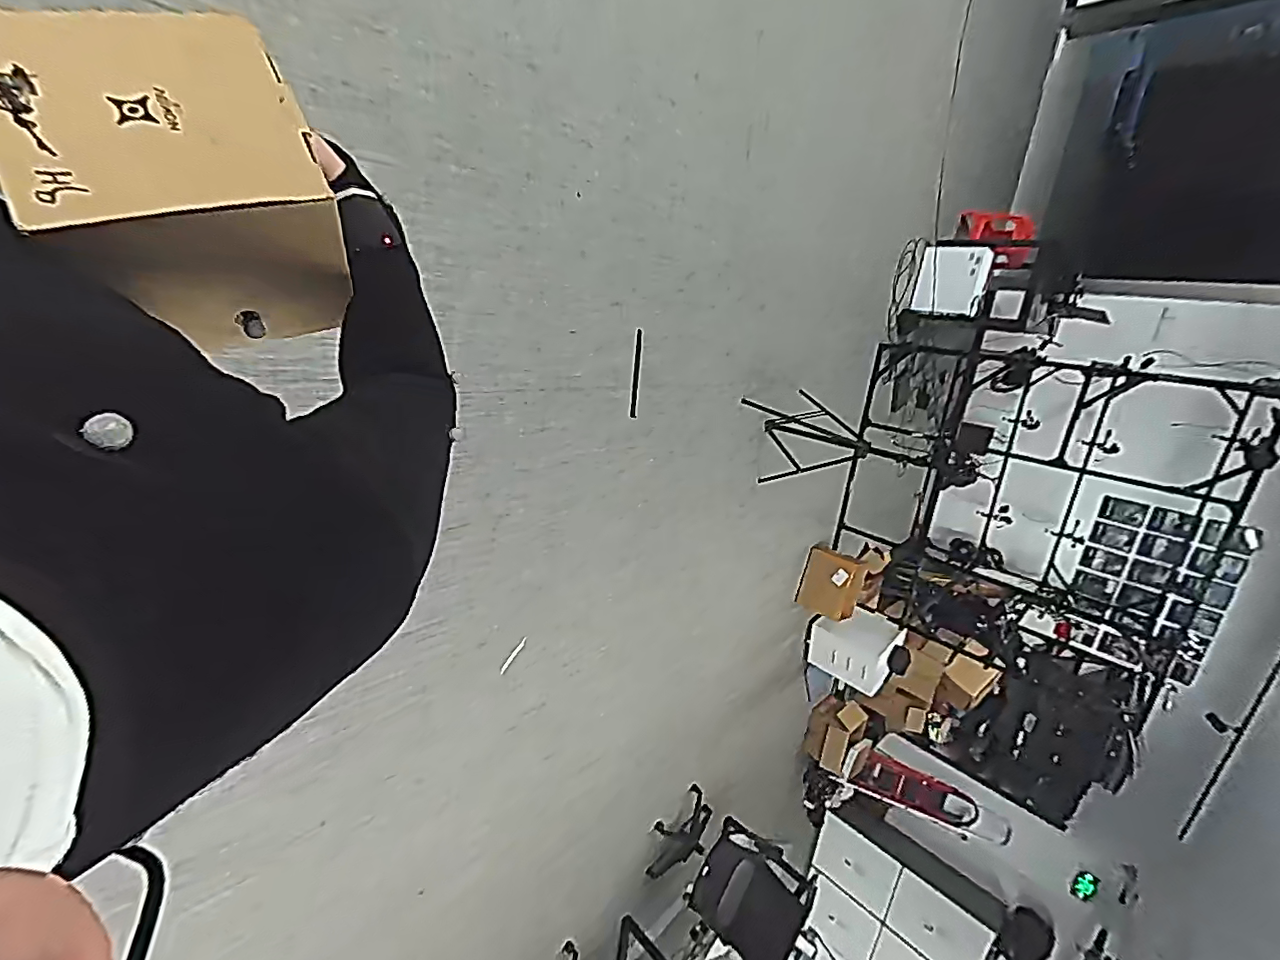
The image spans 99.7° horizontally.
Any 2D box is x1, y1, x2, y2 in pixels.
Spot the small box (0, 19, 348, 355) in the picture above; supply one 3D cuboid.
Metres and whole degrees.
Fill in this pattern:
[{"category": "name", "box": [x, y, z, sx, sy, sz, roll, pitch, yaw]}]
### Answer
[{"category": "small box", "box": [-0.364, -0.230, 0.452, 0.179, 0.176, 0.168, -23, 82, -27]}]
